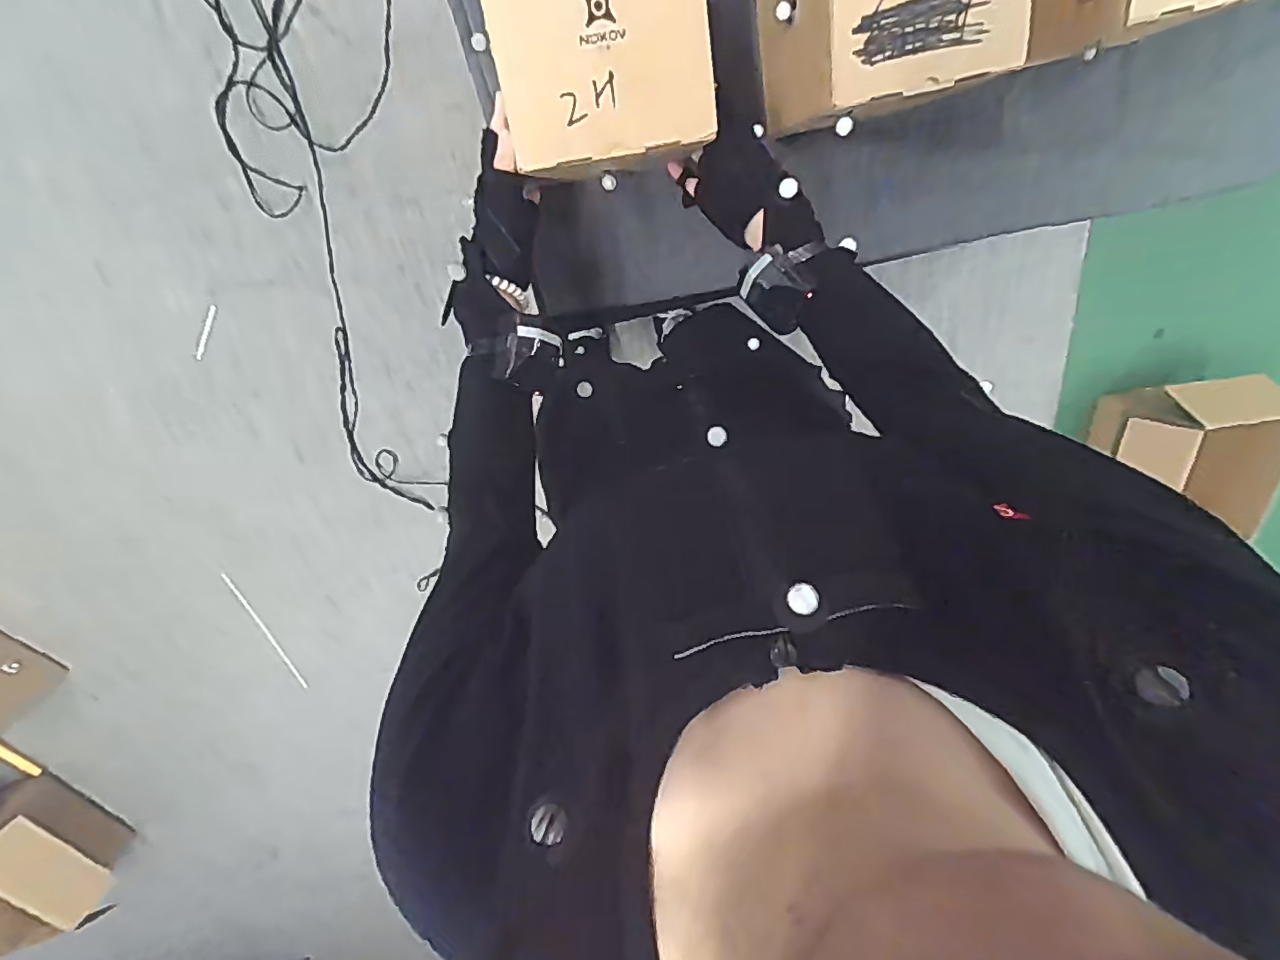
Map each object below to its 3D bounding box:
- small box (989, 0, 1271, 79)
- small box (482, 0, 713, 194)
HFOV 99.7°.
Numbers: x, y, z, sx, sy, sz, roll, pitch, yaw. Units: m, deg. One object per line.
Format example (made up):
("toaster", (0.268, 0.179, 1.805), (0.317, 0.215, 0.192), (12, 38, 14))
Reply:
("small box", (0.450, -0.501, 0.487), (0.168, 0.176, 0.179), (-15, 116, -1))
("small box", (-0.042, -0.369, 0.476), (0.168, 0.176, 0.179), (-11, 114, -2))
